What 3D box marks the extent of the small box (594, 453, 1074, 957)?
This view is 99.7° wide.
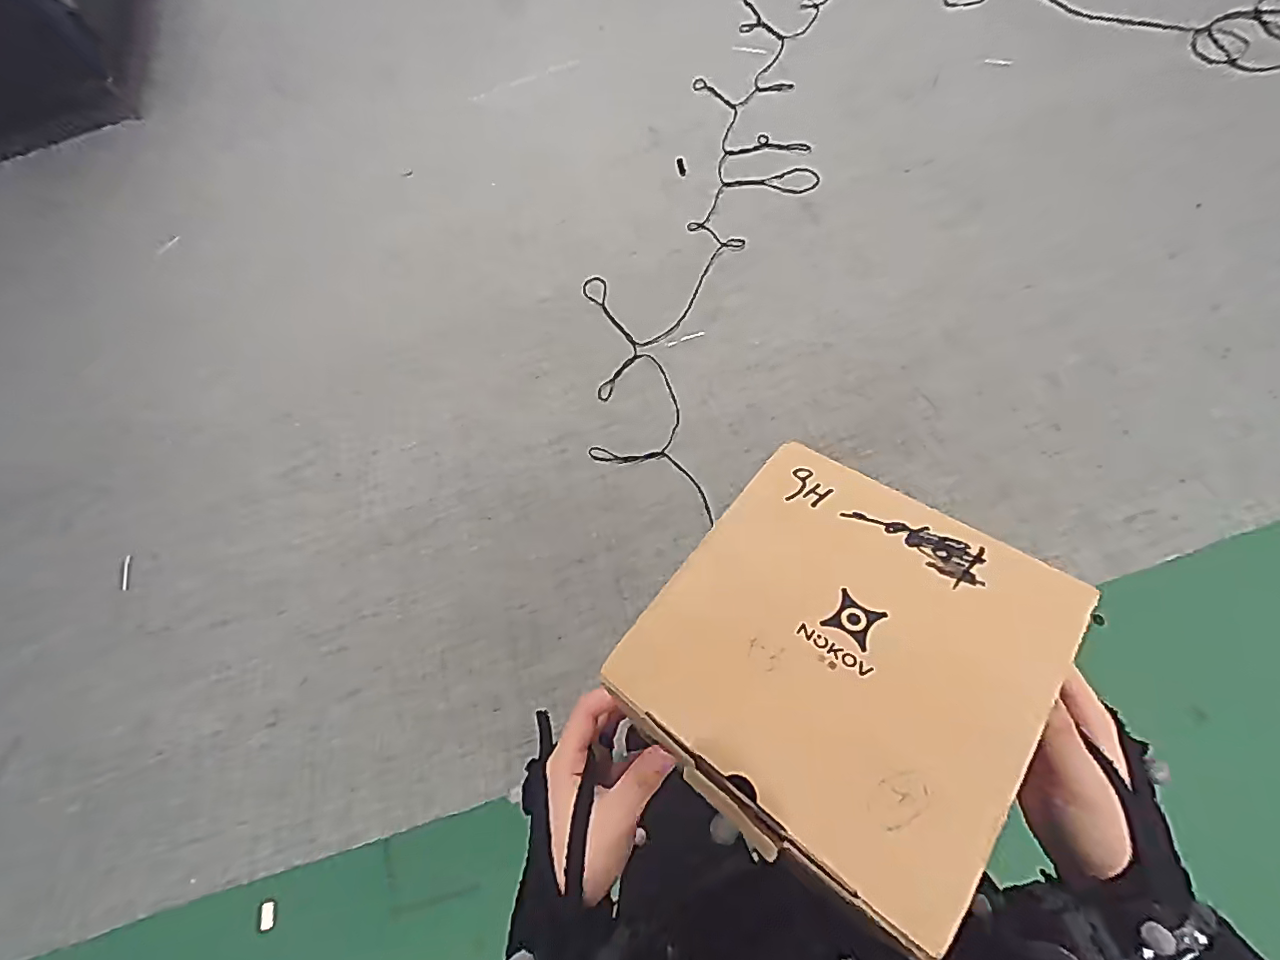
[{"bbox_3d":[0.103,0.124,0.327,0.168,0.176,0.179,32,66,27],"label":"small box"}]
